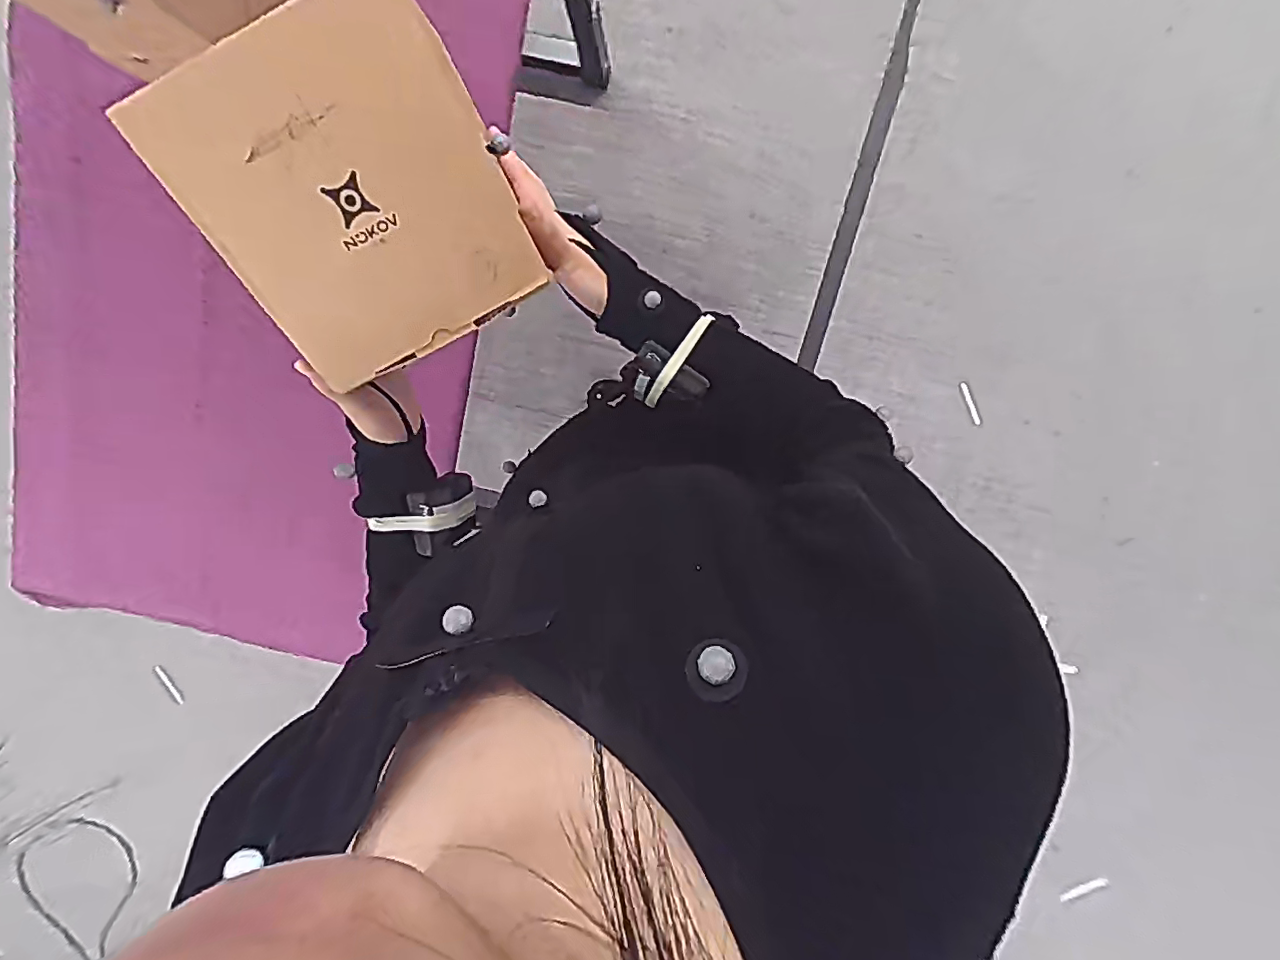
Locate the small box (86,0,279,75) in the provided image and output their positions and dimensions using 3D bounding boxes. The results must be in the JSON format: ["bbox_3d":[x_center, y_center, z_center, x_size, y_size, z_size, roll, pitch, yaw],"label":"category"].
[{"bbox_3d":[-0.432,-0.501,0.585,0.168,0.176,0.179,12,102,1],"label":"small box"}]

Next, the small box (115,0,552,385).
[{"bbox_3d":[-0.174,-0.199,0.380,0.168,0.176,0.179,-27,119,4],"label":"small box"}]
